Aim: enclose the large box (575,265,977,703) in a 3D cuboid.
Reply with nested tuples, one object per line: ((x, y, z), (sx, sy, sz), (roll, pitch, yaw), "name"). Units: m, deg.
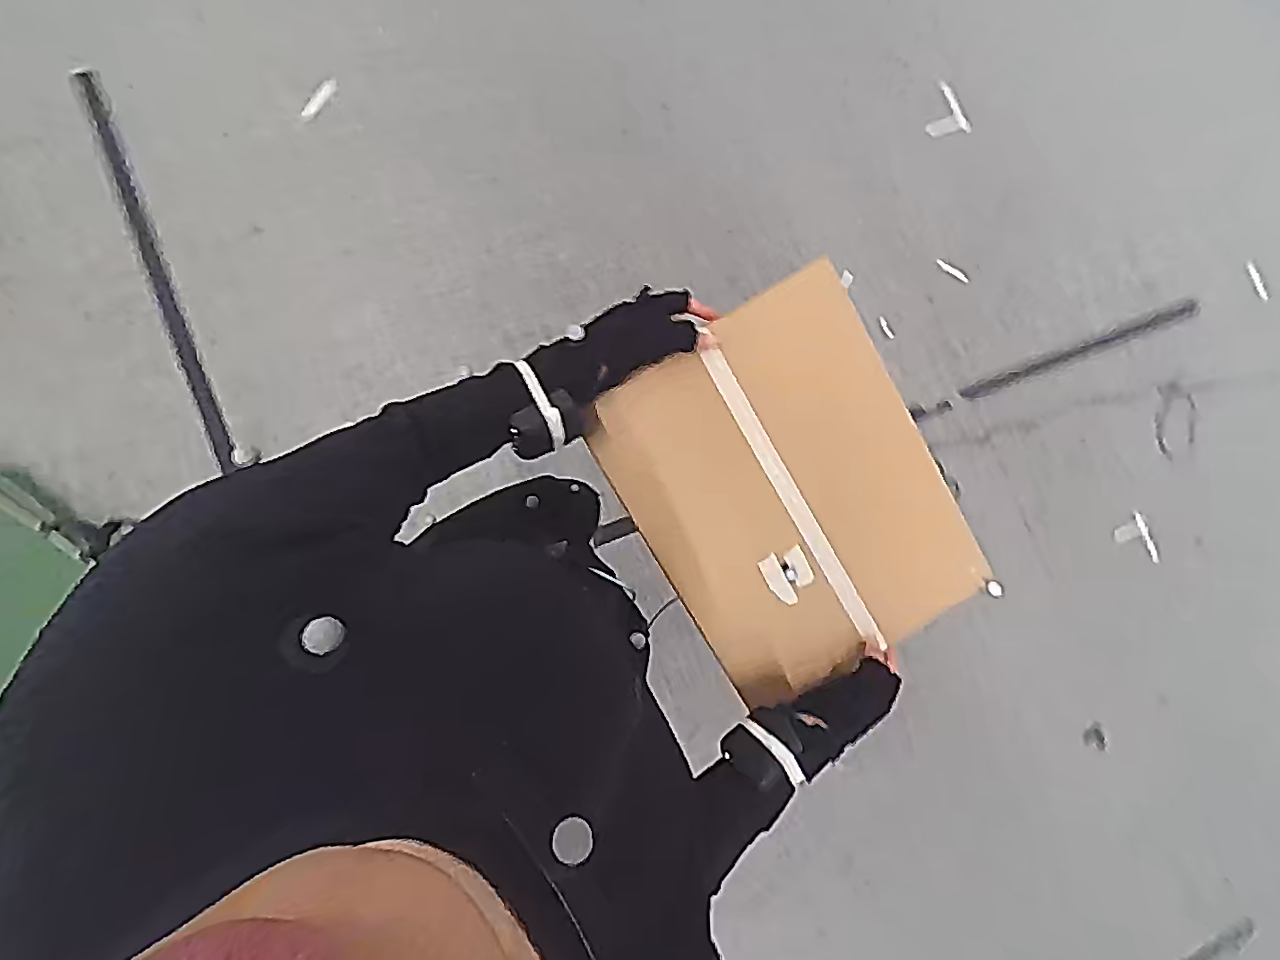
((0.145, -0.003, 0.743), (0.320, 0.320, 0.408), (-31, 98, 0), "large box")
